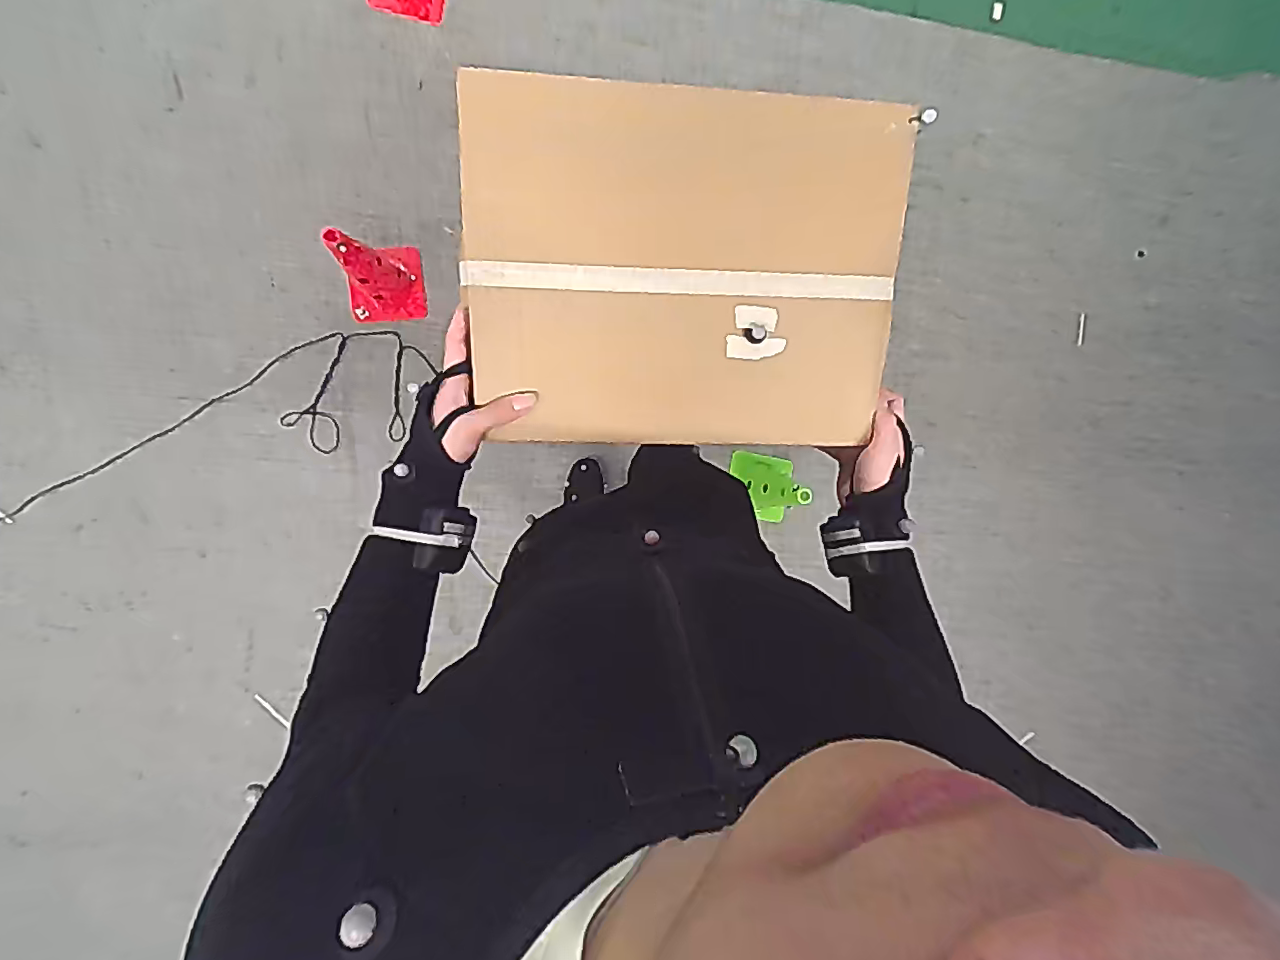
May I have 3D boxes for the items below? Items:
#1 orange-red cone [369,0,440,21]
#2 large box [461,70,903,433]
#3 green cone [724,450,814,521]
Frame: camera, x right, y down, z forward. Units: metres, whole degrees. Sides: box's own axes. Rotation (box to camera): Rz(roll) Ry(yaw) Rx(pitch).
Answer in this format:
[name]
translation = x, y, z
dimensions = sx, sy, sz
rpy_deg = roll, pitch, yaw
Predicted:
[orange-red cone]
translation = -0.613, -1.360, 1.301
dimensions = 0.199, 0.360, 0.198
rpy_deg = 11, 91, -6
[large box]
translation = 0.026, -0.238, 0.656
dimensions = 0.408, 0.320, 0.320
rpy_deg = 0, 107, -7
[green cone]
translation = 0.391, 0.025, 1.509
dimensions = 0.200, 0.368, 0.202
rpy_deg = 10, 91, -8
